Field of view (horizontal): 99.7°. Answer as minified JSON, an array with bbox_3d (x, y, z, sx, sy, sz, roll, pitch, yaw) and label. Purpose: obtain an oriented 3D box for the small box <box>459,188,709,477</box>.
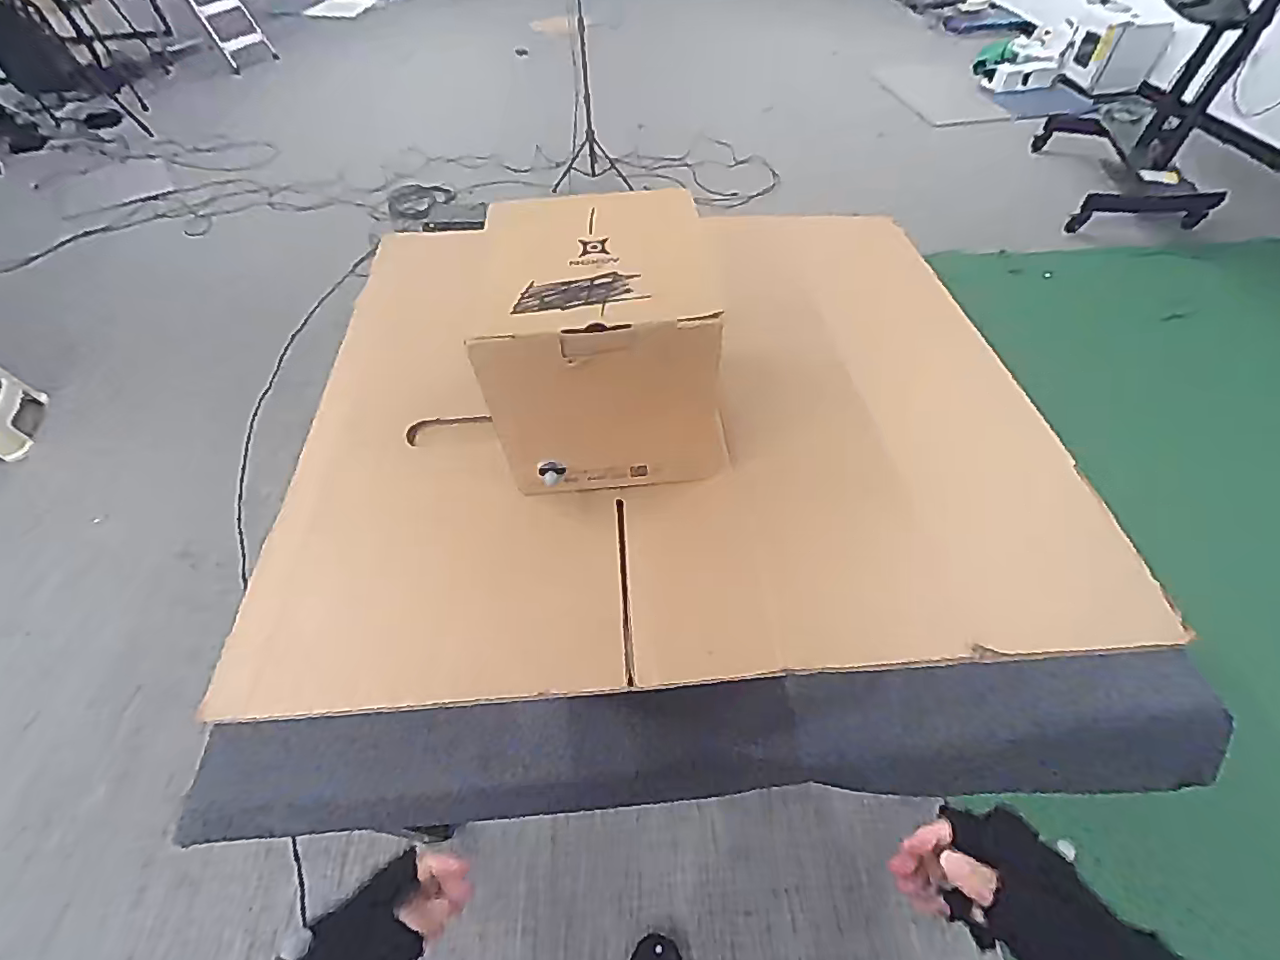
[{"bbox_3d":[-0.036,-0.114,0.456,0.168,0.176,0.179,-5,53,0],"label":"small box"}]
